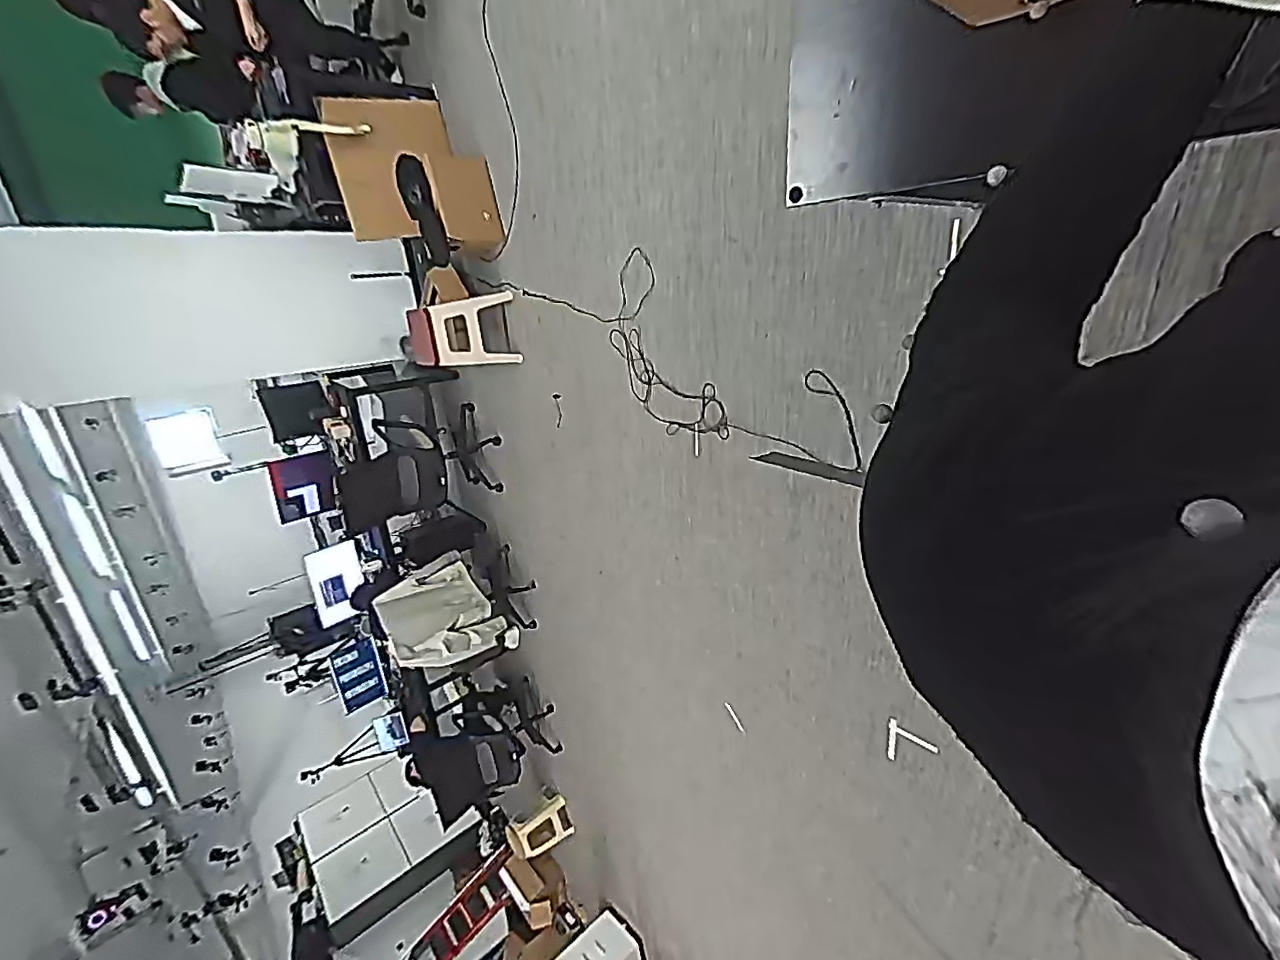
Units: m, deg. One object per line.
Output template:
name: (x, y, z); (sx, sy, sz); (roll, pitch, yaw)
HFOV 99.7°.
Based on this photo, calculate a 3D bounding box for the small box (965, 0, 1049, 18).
small box: (0.370, -0.552, 0.470); (0.168, 0.176, 0.179); (19, 122, 47)
